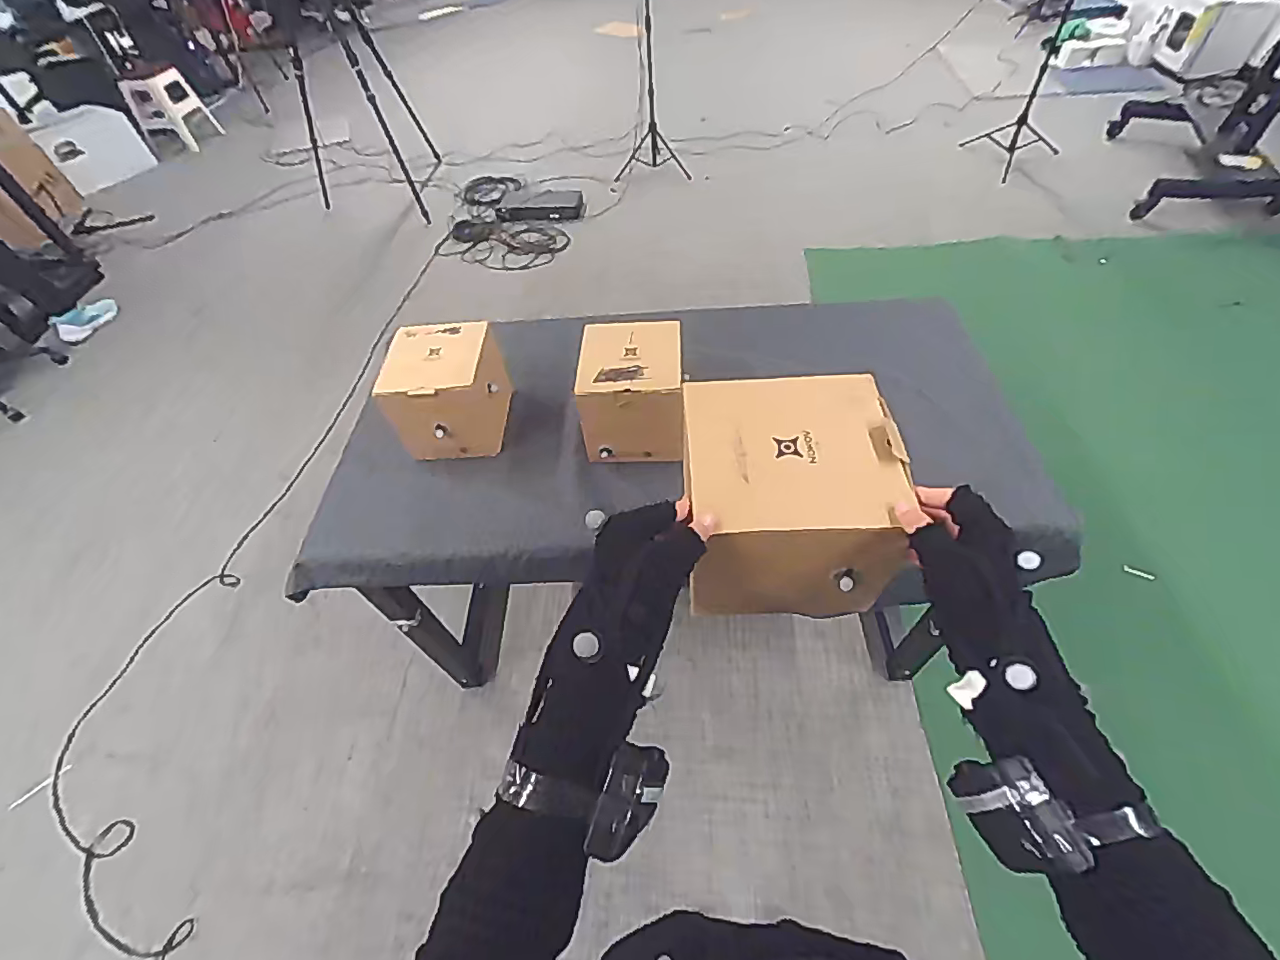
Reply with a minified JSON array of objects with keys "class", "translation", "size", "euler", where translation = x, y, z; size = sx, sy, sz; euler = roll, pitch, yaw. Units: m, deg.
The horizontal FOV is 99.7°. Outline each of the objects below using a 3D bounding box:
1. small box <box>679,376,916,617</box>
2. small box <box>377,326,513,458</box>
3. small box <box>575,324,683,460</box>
[{"class":"small box","translation":[0.130,0.022,0.525],"size":[0.179,0.176,0.168],"euler":[-4,53,4]},{"class":"small box","translation":[-0.339,-0.152,0.982],"size":[0.168,0.176,0.179],"euler":[-3,52,3]},{"class":"small box","translation":[-0.010,-0.147,0.944],"size":[0.168,0.176,0.179],"euler":[-1,51,5]}]
